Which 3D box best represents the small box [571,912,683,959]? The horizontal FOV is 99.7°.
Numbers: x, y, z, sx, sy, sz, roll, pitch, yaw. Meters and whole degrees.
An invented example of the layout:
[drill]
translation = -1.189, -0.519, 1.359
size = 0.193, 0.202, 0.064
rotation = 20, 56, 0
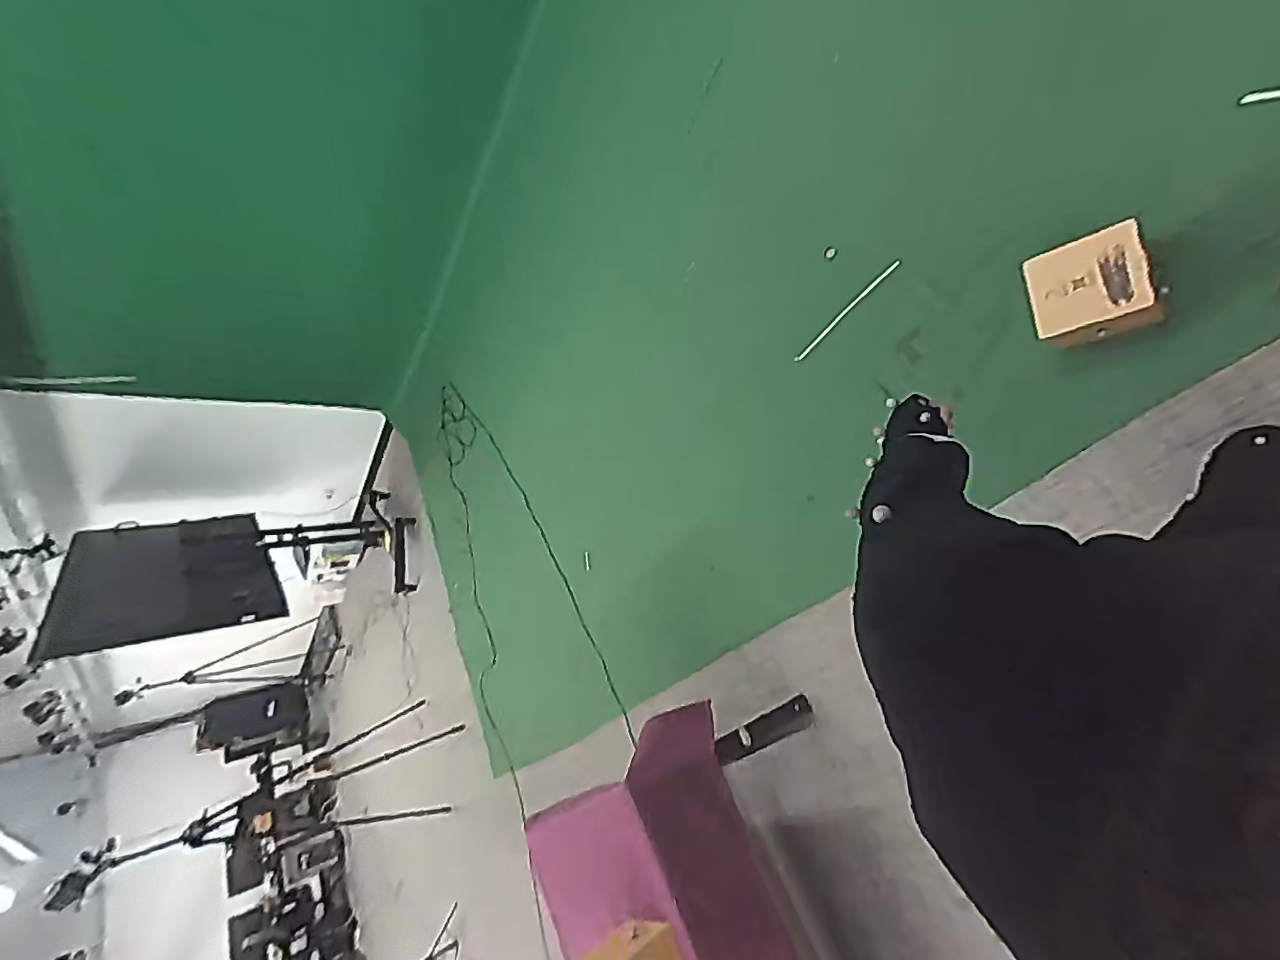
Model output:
[small box]
translation = -0.010, 1.032, 1.104
size = 0.168, 0.176, 0.179
rotation = -43, 60, 42
